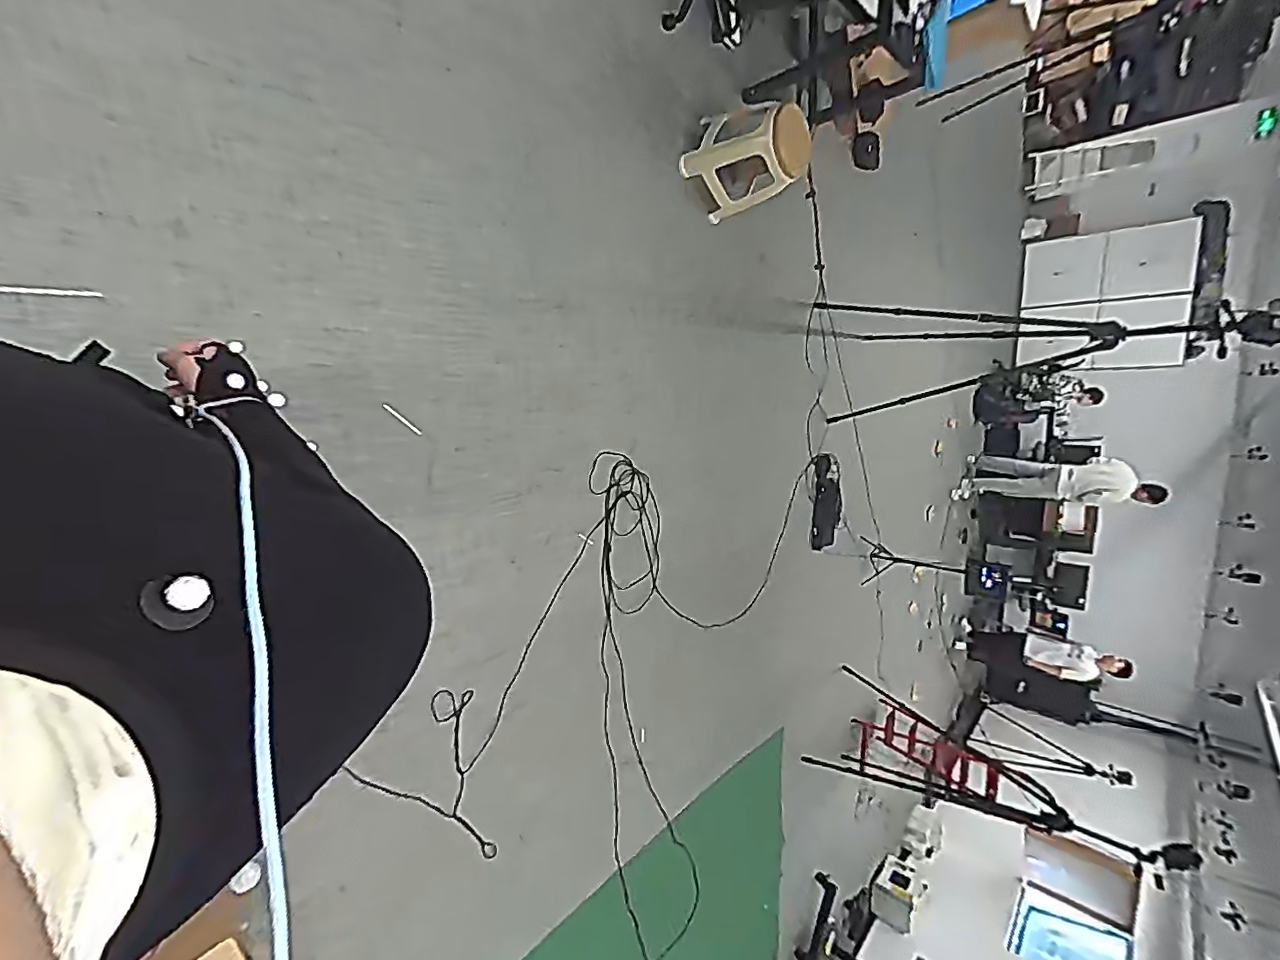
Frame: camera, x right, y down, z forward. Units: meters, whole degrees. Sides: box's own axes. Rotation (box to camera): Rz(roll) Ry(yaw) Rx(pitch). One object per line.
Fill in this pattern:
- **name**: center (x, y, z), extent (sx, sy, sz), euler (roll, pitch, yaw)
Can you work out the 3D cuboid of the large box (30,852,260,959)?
- **large box**: center (-1.125, 1.169, 1.207), extent (0.408, 0.320, 0.320), euler (-23, 111, -42)
